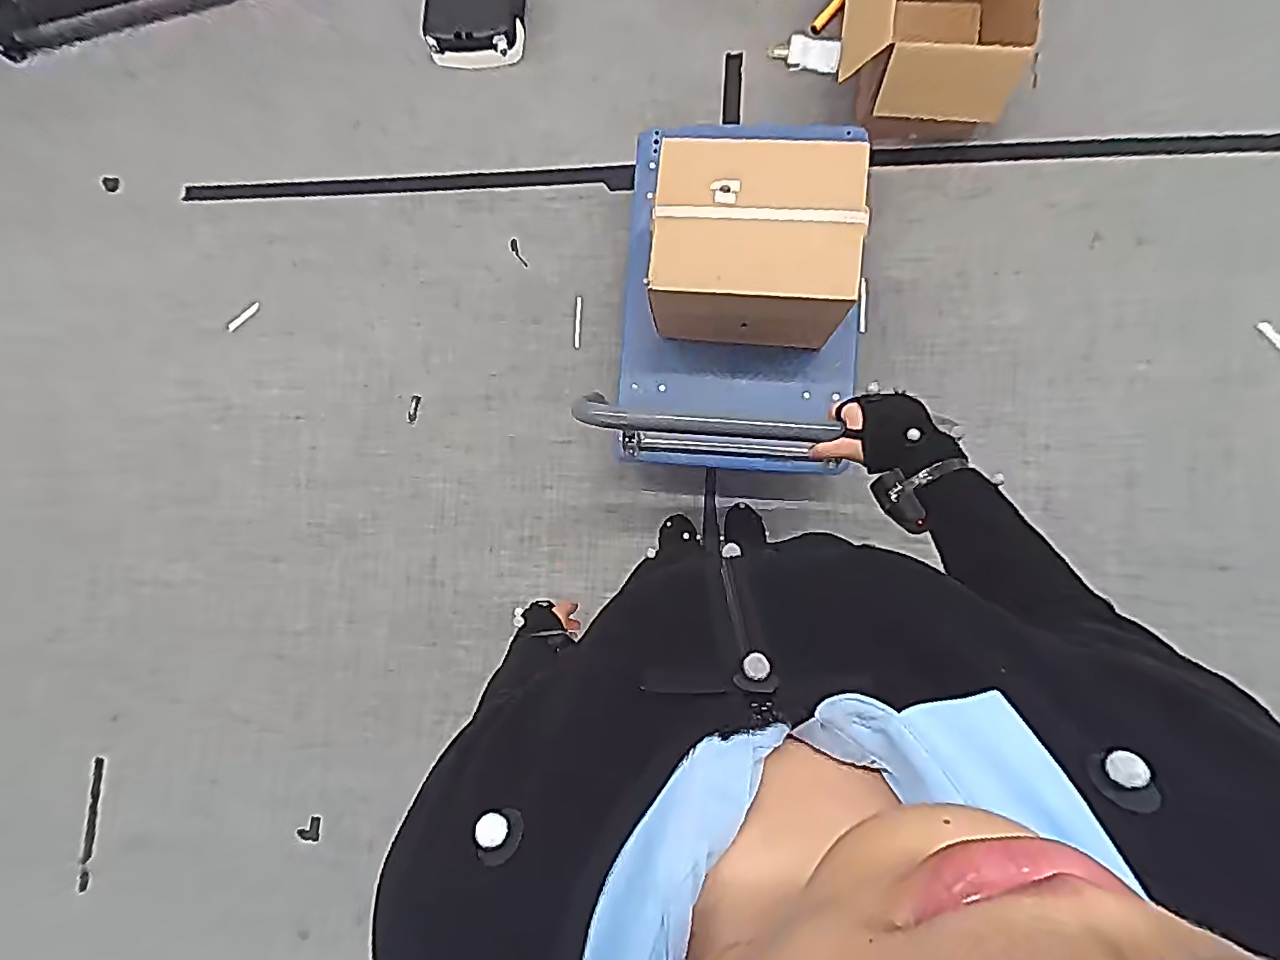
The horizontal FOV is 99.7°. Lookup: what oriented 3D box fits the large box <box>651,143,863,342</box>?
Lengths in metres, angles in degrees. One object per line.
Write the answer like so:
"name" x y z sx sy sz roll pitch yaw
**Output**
"large box" 0.249 -0.508 1.215 0.408 0.320 0.320 5 86 8
